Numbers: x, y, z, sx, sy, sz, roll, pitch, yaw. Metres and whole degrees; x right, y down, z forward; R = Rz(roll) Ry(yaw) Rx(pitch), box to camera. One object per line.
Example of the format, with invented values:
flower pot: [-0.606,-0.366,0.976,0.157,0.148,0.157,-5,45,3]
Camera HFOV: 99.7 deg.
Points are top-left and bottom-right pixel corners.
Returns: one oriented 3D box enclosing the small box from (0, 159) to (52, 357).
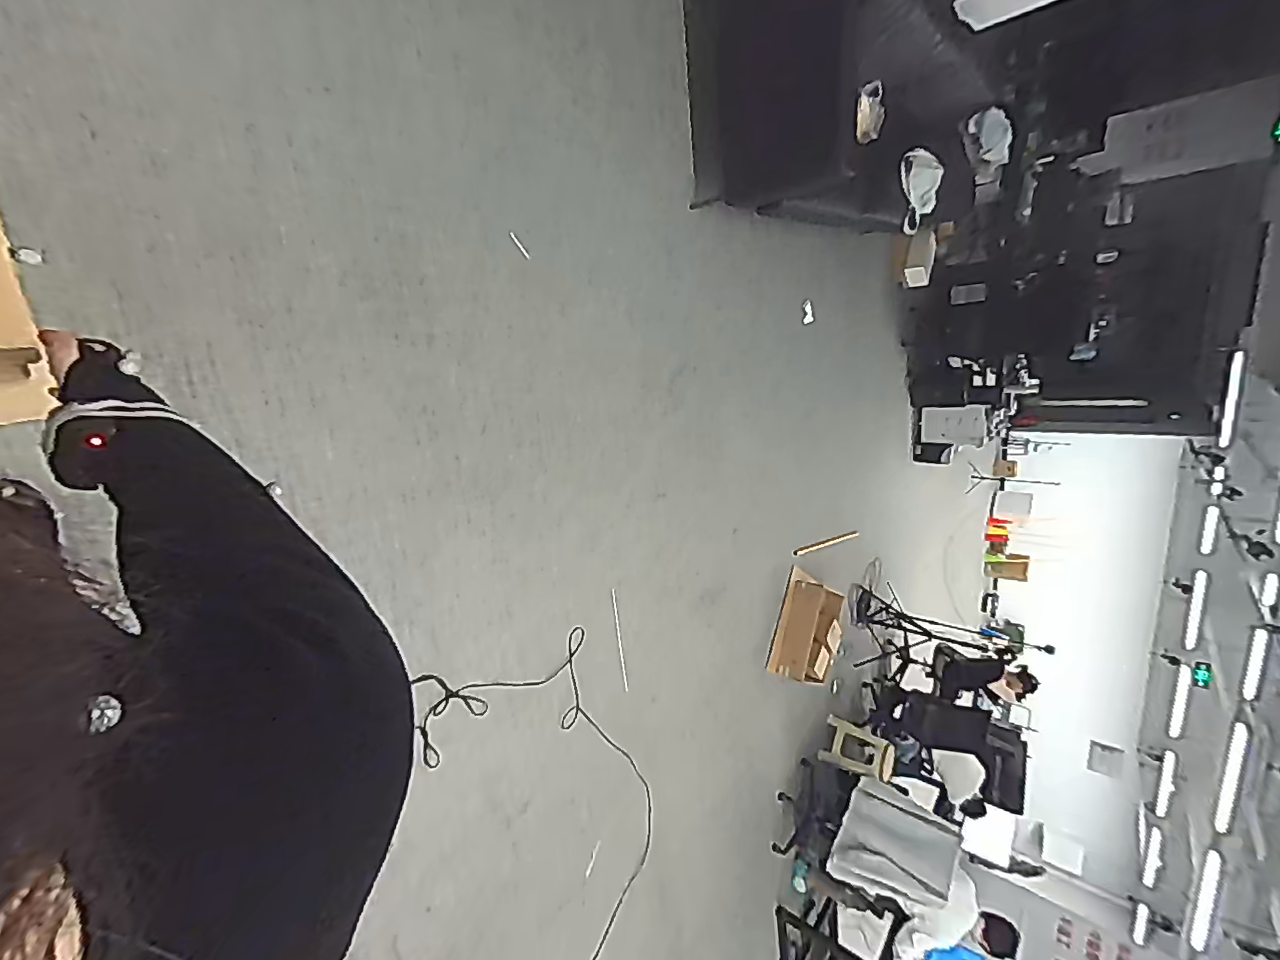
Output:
small box: [-0.623,-0.194,0.438,0.168,0.176,0.179,-18,109,-46]
